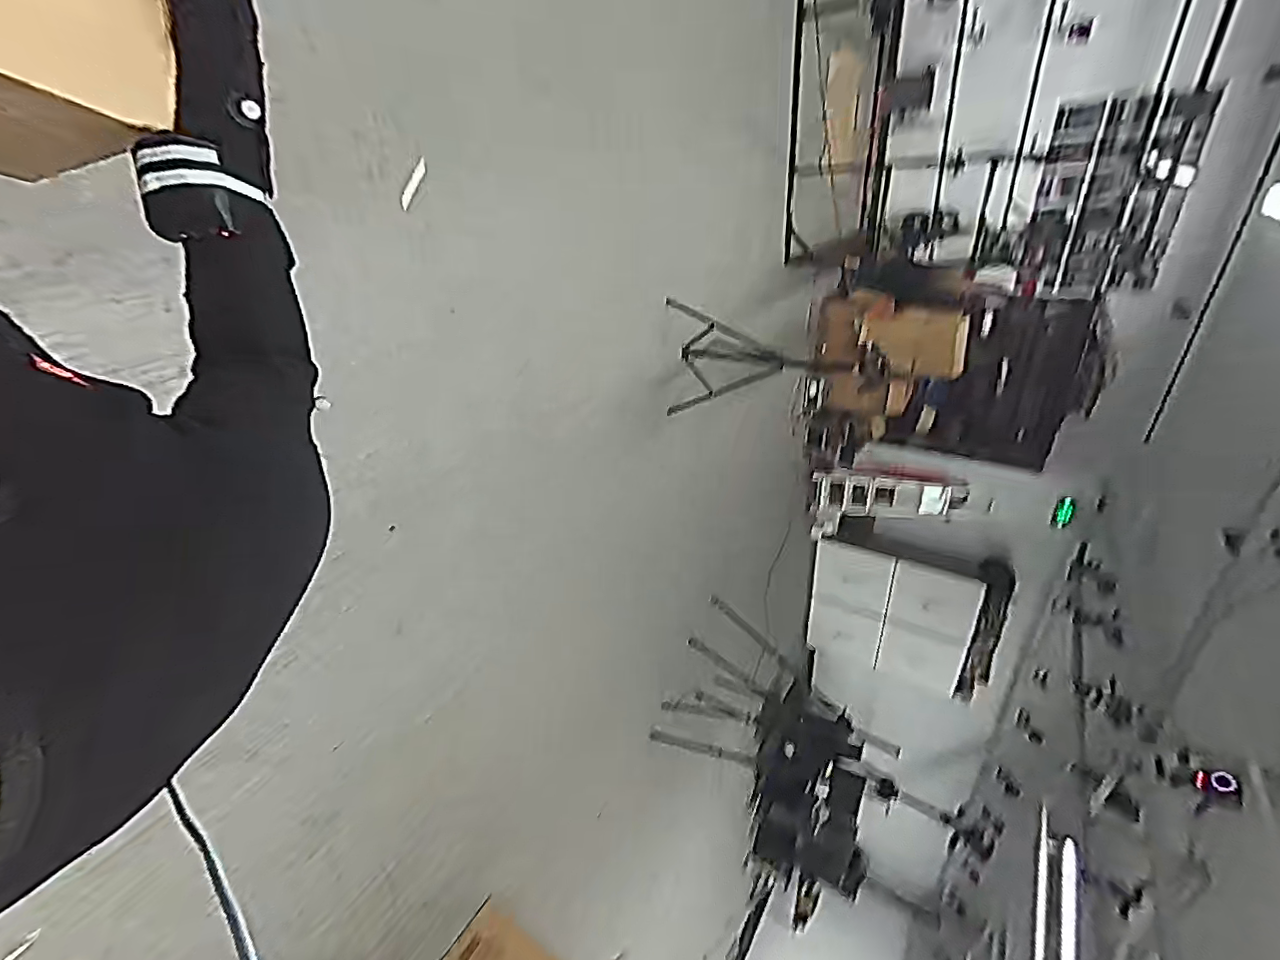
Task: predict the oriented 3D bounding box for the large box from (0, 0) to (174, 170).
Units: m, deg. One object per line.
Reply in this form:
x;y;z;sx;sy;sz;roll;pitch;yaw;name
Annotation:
-0.563;-0.420;0.282;0.408;0.320;0.320;-8;106;-60;large box
